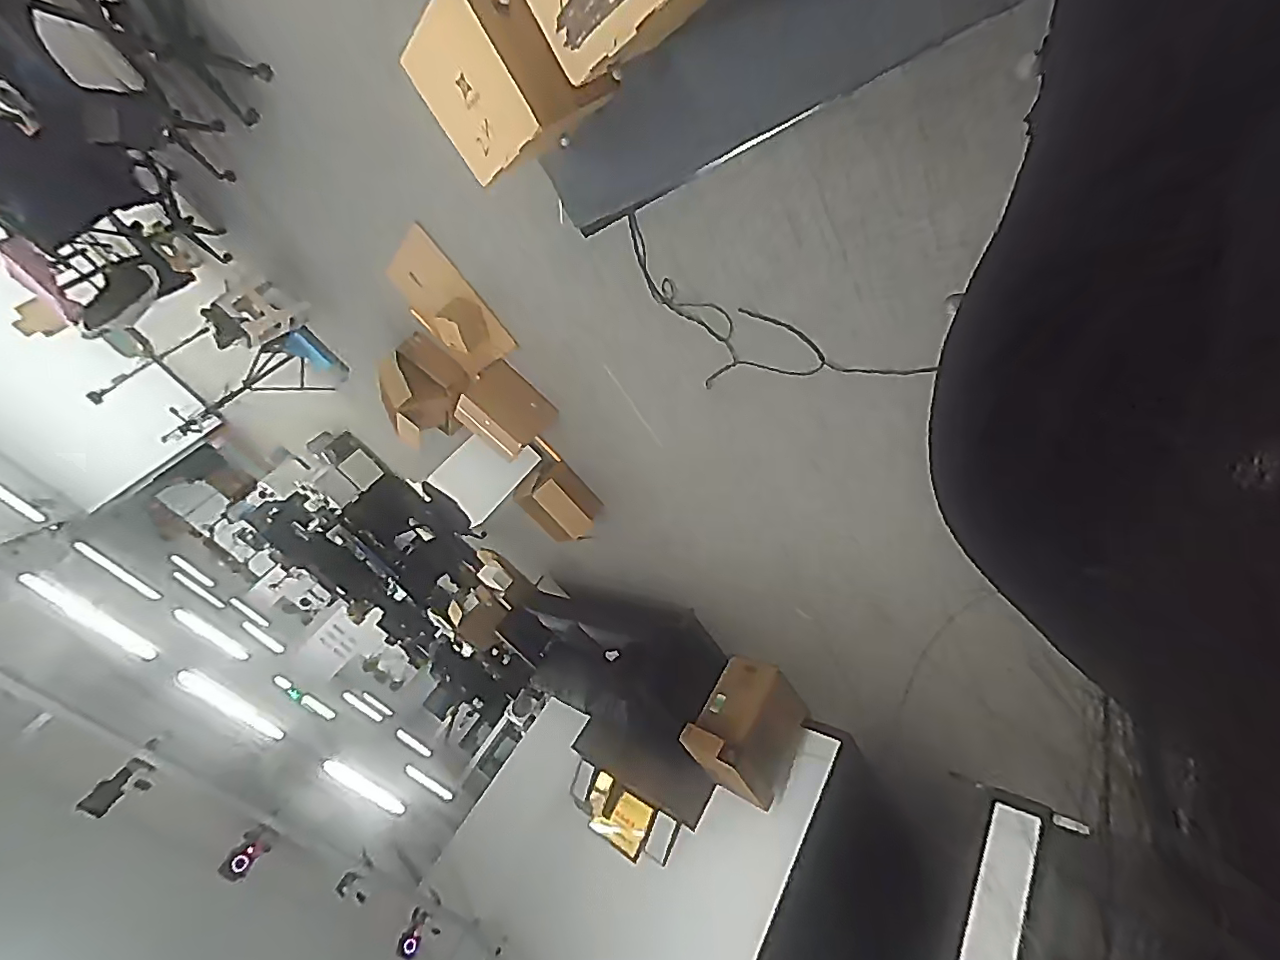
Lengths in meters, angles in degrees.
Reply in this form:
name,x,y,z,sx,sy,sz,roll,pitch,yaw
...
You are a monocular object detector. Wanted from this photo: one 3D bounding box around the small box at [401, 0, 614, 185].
name,x,y,z,sx,sy,sz,roll,pitch,yaw
small box,-0.170,-0.540,0.719,0.168,0.176,0.179,-3,130,48
